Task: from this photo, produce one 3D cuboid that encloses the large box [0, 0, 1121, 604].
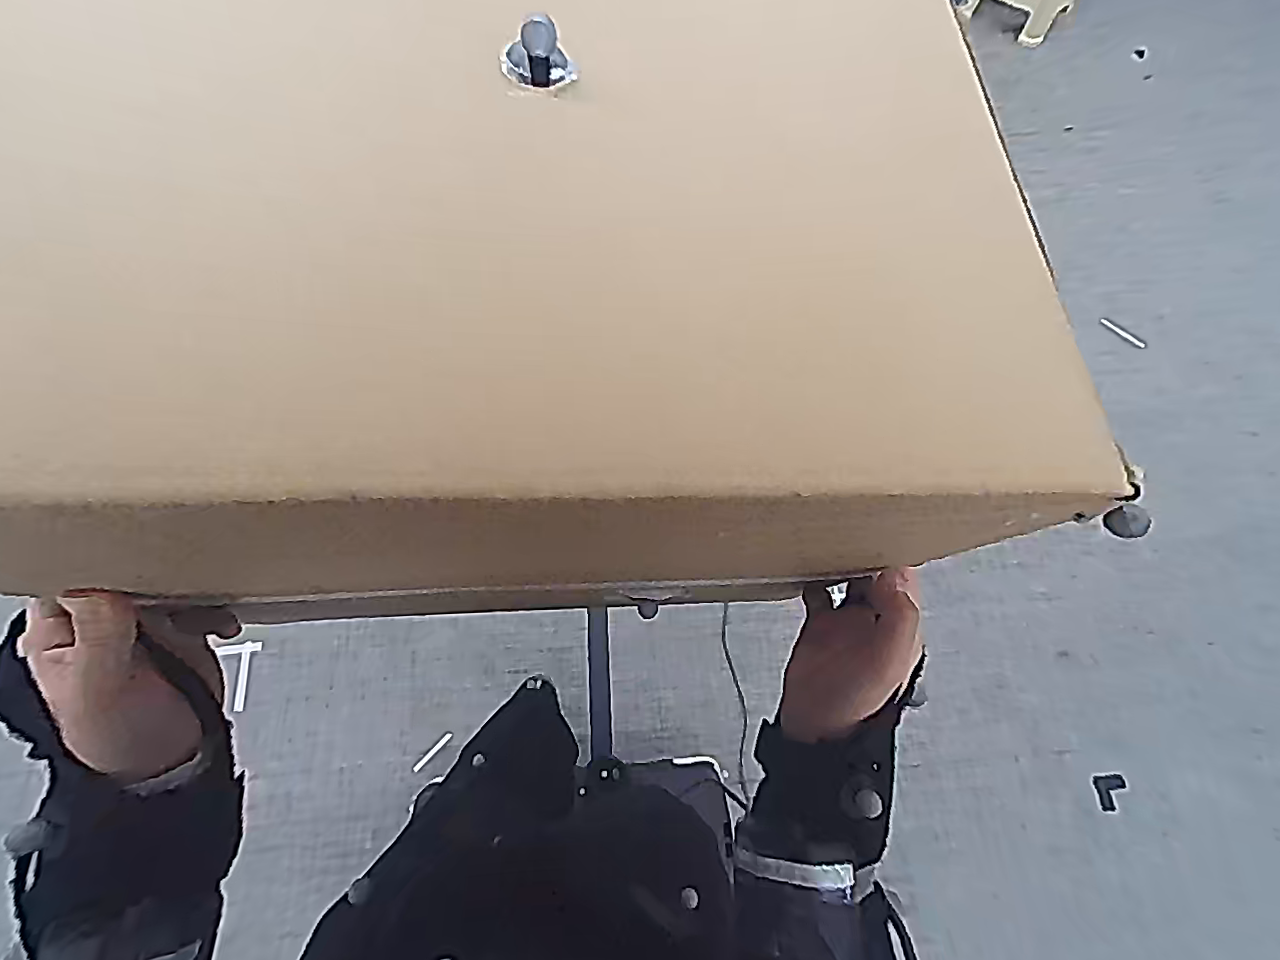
[{"bbox_3d":[-0.065,-0.105,0.338,0.408,0.320,0.320,-1,72,-10],"label":"large box"}]
